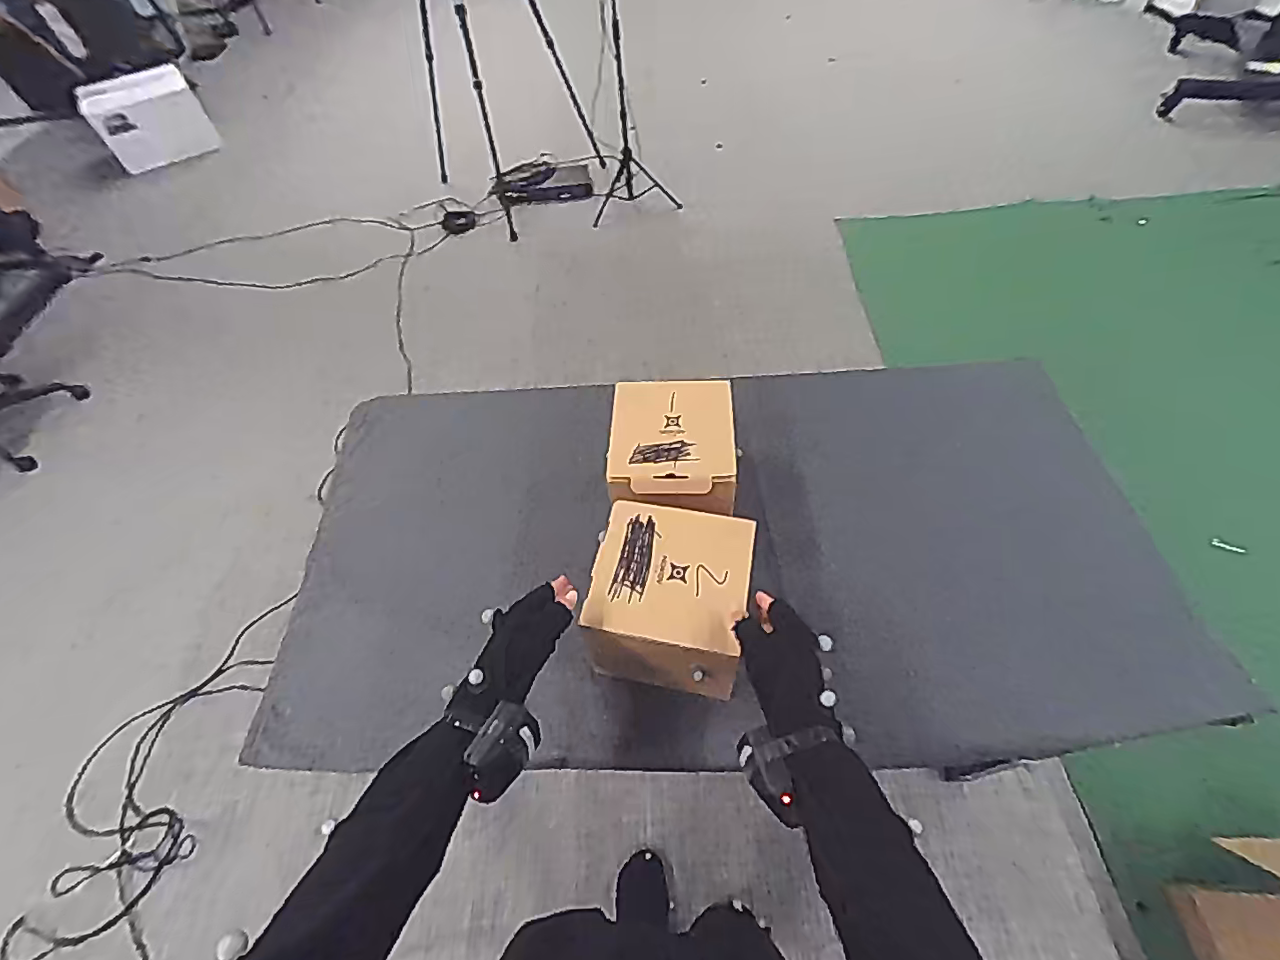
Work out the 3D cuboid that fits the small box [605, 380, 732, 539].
[{"bbox_3d":[0.047,-0.025,0.792,0.168,0.176,0.179,1,54,5],"label":"small box"}]
